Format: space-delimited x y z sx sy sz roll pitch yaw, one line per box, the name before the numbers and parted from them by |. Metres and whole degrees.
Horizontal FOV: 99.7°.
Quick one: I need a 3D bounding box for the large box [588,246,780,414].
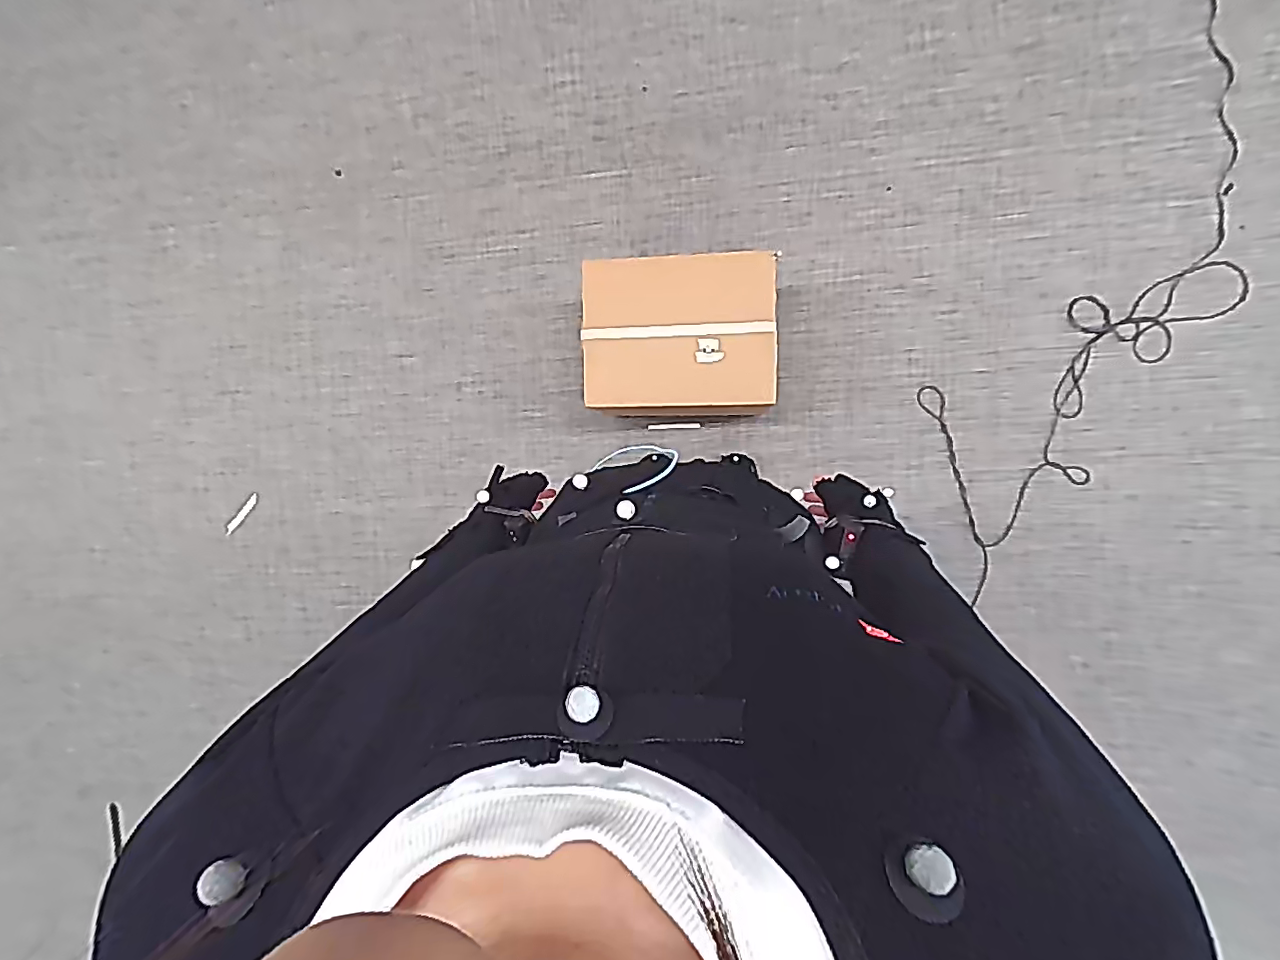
large box | 0.106 -0.328 1.276 0.408 0.320 0.320 0 93 7
